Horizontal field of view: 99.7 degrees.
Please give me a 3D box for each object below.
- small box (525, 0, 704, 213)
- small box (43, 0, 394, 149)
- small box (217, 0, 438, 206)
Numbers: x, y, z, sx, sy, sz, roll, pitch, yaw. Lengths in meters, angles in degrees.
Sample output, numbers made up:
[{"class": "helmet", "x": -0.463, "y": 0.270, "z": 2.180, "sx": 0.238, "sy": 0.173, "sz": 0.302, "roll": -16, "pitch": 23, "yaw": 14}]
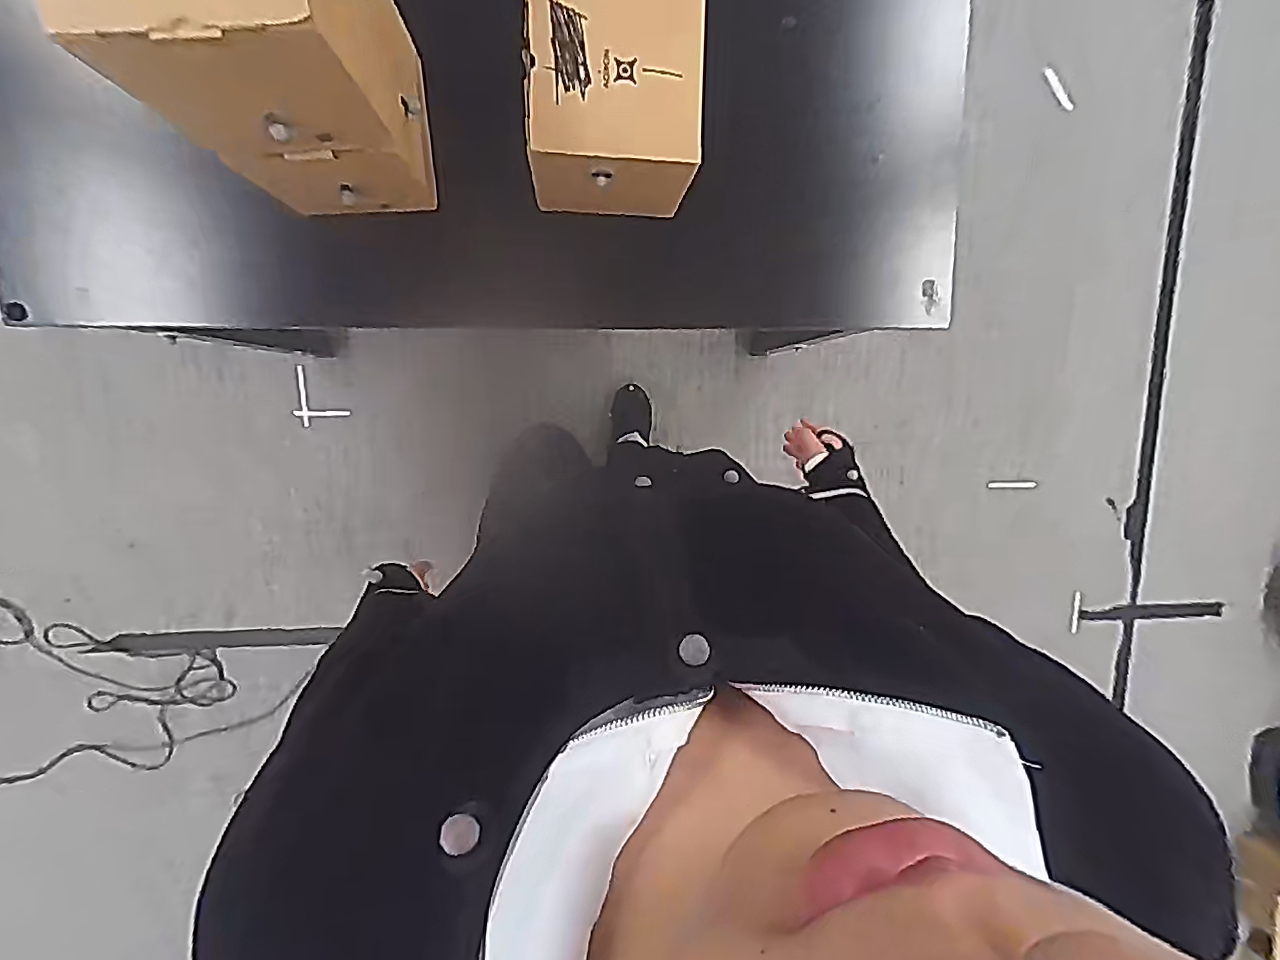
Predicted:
[{"class": "small box", "x": -0.033, "y": -0.420, "z": 0.613, "sx": 0.179, "sy": 0.176, "sz": 0.168, "roll": 0, "pitch": 98, "yaw": -7}, {"class": "small box", "x": -0.312, "y": -0.391, "z": 0.420, "sx": 0.168, "sy": 0.176, "sz": 0.179, "roll": -7, "pitch": 99, "yaw": -5}, {"class": "small box", "x": -0.330, "y": -0.411, "z": 0.584, "sx": 0.168, "sy": 0.176, "sz": 0.179, "roll": -6, "pitch": 99, "yaw": -5}]
